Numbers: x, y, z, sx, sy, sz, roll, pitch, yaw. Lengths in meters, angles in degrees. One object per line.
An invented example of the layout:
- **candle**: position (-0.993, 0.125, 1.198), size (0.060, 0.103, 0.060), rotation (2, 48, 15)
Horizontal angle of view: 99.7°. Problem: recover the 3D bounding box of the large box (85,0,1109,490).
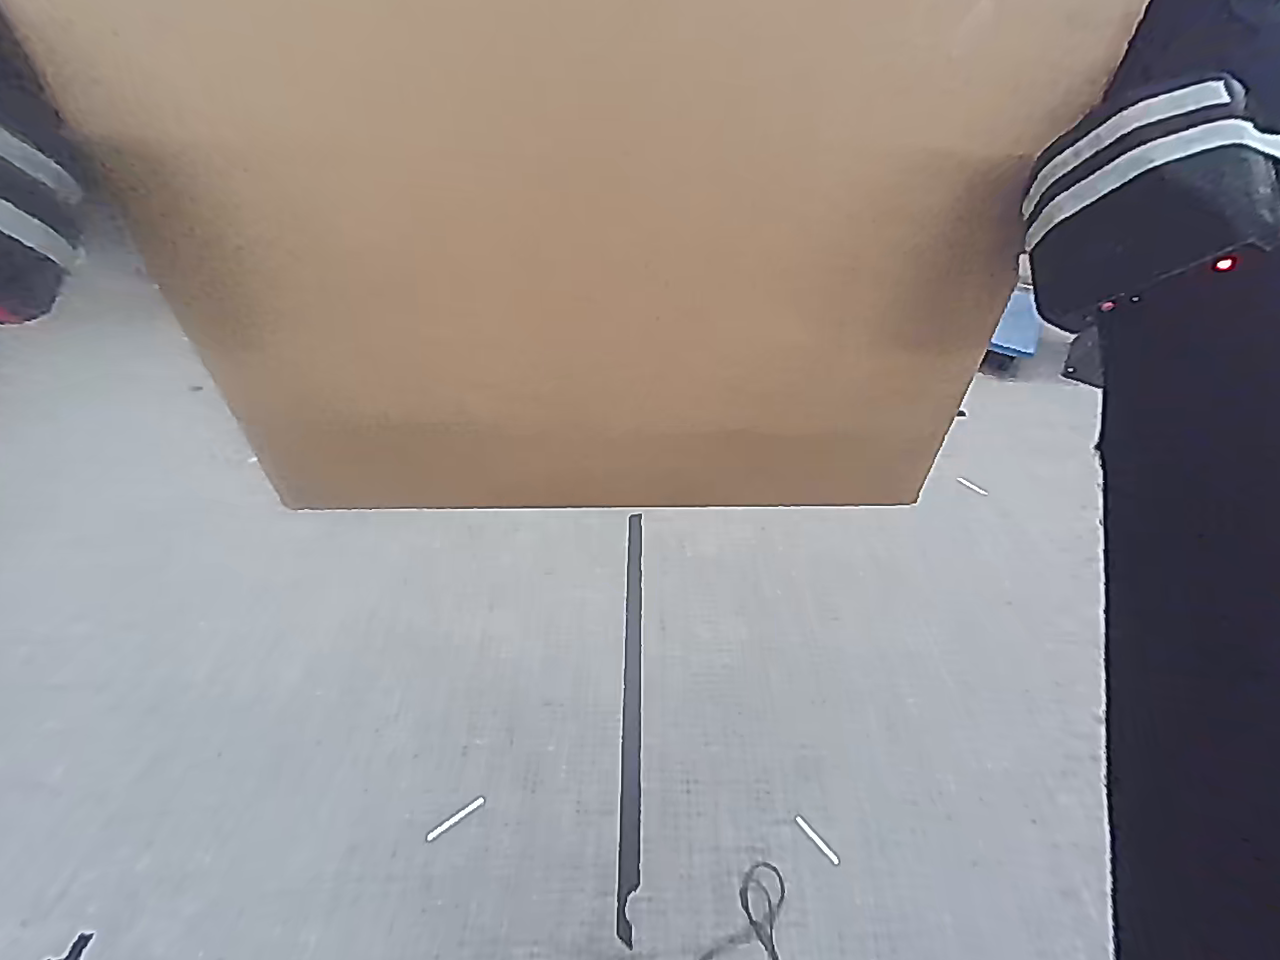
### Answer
- **large box**: position (-0.020, -0.204, 0.379), size (0.408, 0.320, 0.320), rotation (0, 41, -3)
